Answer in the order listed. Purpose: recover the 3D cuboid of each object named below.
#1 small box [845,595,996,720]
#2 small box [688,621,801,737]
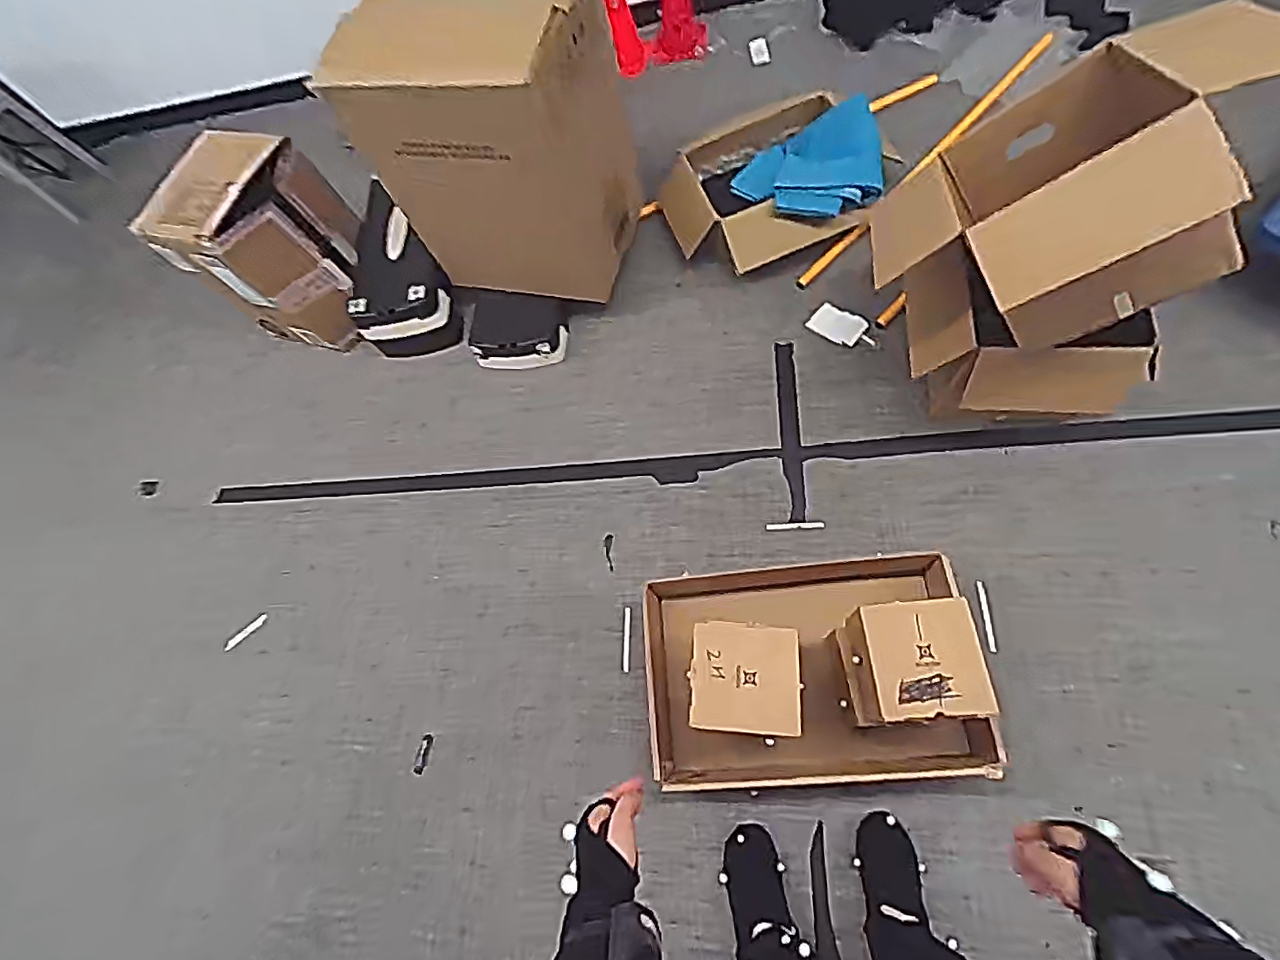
[{"bbox_3d":[0.453,0.300,0.905,0.168,0.176,0.179,-7,66,9],"label":"small box"},{"bbox_3d":[0.180,0.345,0.946,0.179,0.176,0.168,1,68,11],"label":"small box"}]
